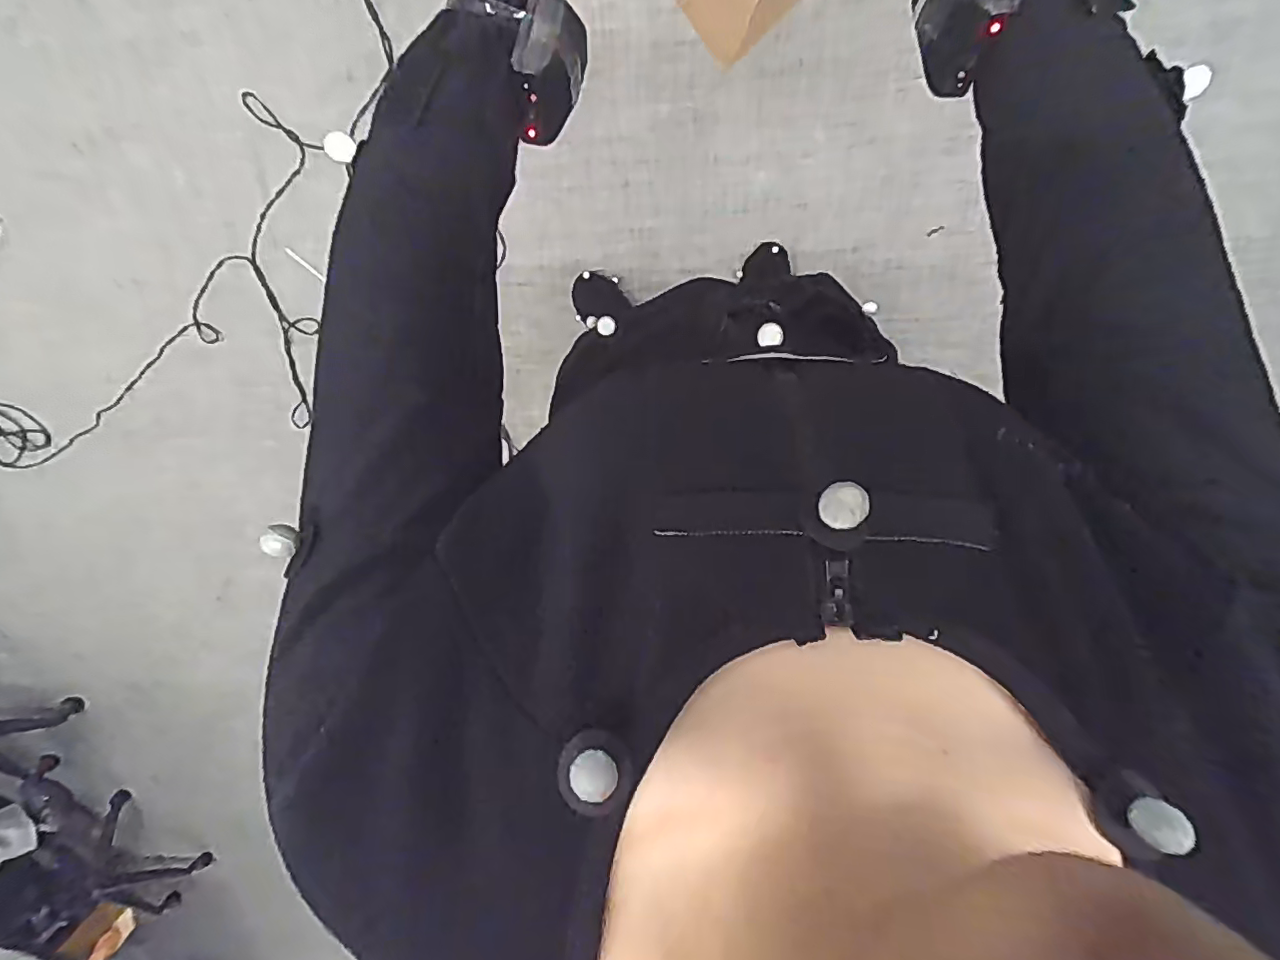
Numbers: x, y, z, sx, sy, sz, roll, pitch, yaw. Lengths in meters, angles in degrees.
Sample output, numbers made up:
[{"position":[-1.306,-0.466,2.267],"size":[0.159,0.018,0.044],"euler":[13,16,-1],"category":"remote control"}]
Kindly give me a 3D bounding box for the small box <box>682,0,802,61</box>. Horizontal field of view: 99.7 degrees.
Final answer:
[{"position":[0.076,-0.389,0.294],"size":[0.179,0.176,0.168],"euler":[-41,104,12],"category":"small box"}]
